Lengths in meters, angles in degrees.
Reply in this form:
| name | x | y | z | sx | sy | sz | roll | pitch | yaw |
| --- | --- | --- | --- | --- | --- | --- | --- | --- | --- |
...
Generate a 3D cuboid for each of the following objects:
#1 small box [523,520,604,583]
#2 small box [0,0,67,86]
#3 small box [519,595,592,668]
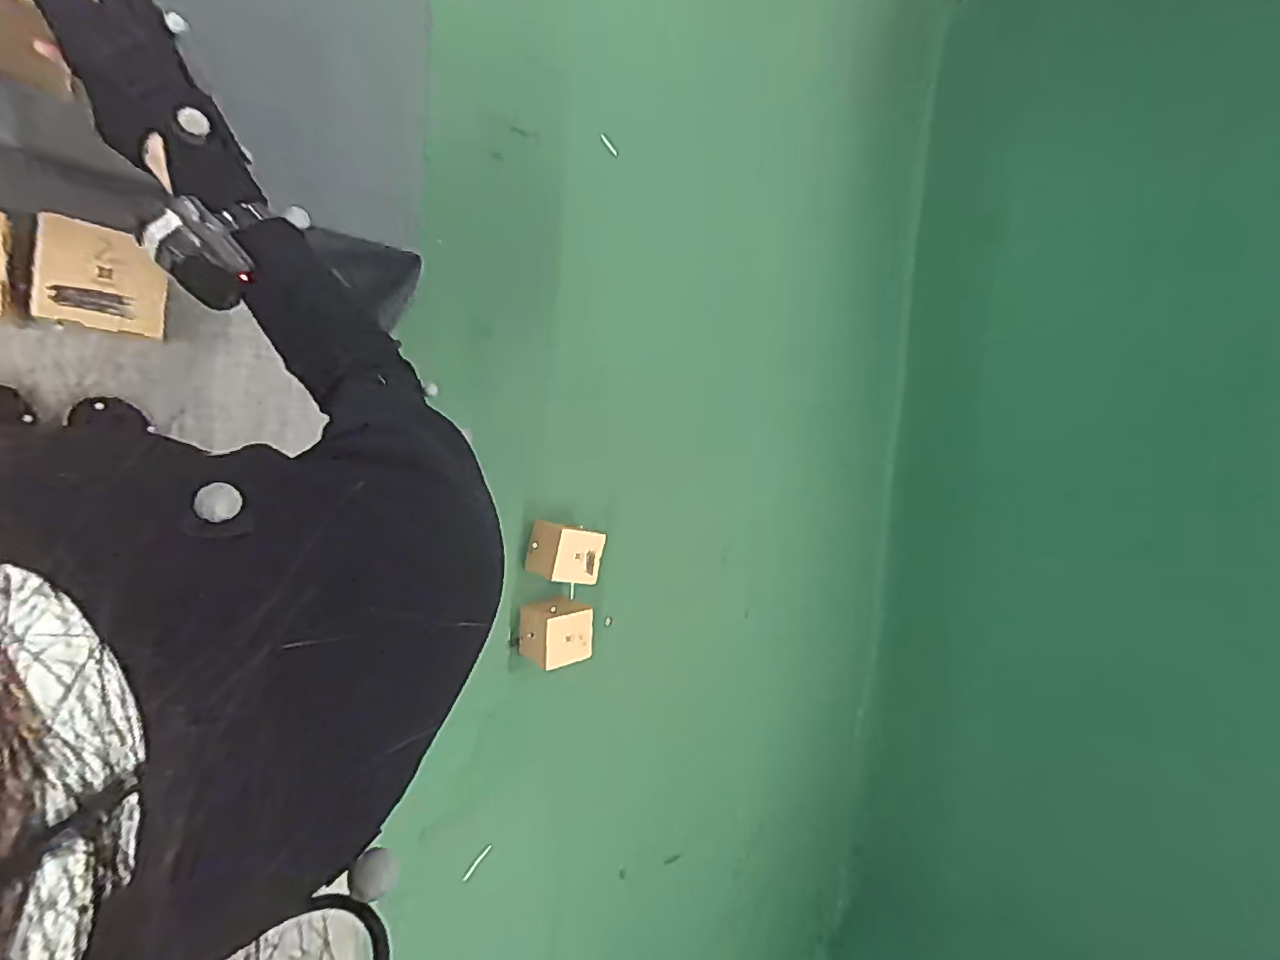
| name | x | y | z | sx | sy | sz | roll | pitch | yaw |
| --- | --- | --- | --- | --- | --- | --- | --- | --- | --- |
| small box | -0.249 | 0.229 | 1.751 | 0.179 | 0.176 | 0.168 | 14 | 85 | -42 |
| small box | -0.478 | -0.378 | 0.322 | 0.168 | 0.176 | 0.179 | -12 | 108 | -43 |
| small box | -0.278 | 0.486 | 1.757 | 0.179 | 0.176 | 0.168 | -3 | 98 | -43 |
